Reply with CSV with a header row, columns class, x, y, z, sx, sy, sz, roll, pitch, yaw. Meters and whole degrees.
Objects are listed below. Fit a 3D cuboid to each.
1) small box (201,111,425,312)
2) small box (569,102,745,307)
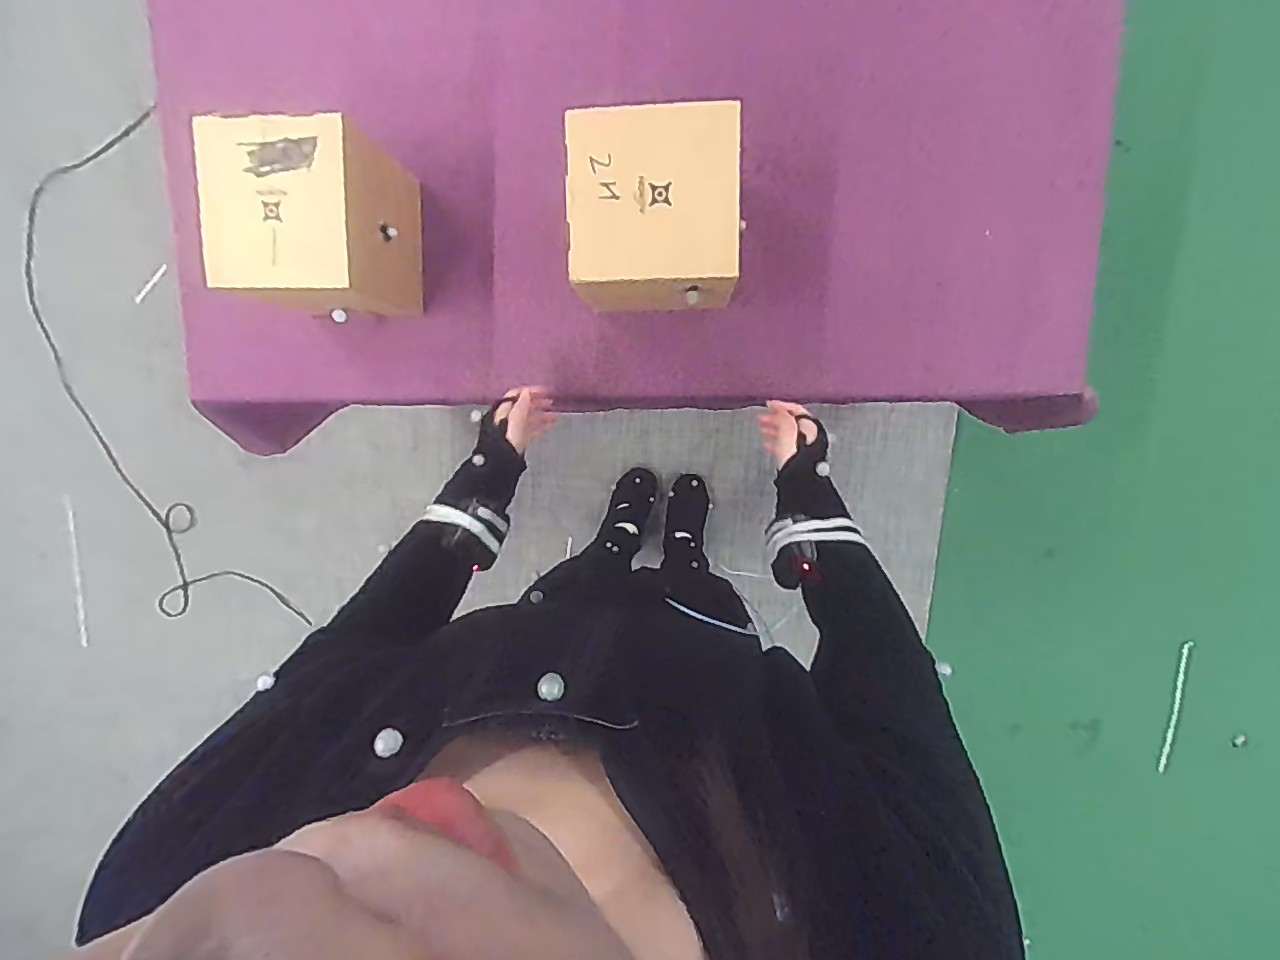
class,x,y,z,sx,sy,sz,roll,pitch,yaw
small box,-0.377,-0.308,0.654,0.168,0.176,0.179,2,99,5
small box,0.021,-0.299,0.621,0.179,0.176,0.168,0,97,5
